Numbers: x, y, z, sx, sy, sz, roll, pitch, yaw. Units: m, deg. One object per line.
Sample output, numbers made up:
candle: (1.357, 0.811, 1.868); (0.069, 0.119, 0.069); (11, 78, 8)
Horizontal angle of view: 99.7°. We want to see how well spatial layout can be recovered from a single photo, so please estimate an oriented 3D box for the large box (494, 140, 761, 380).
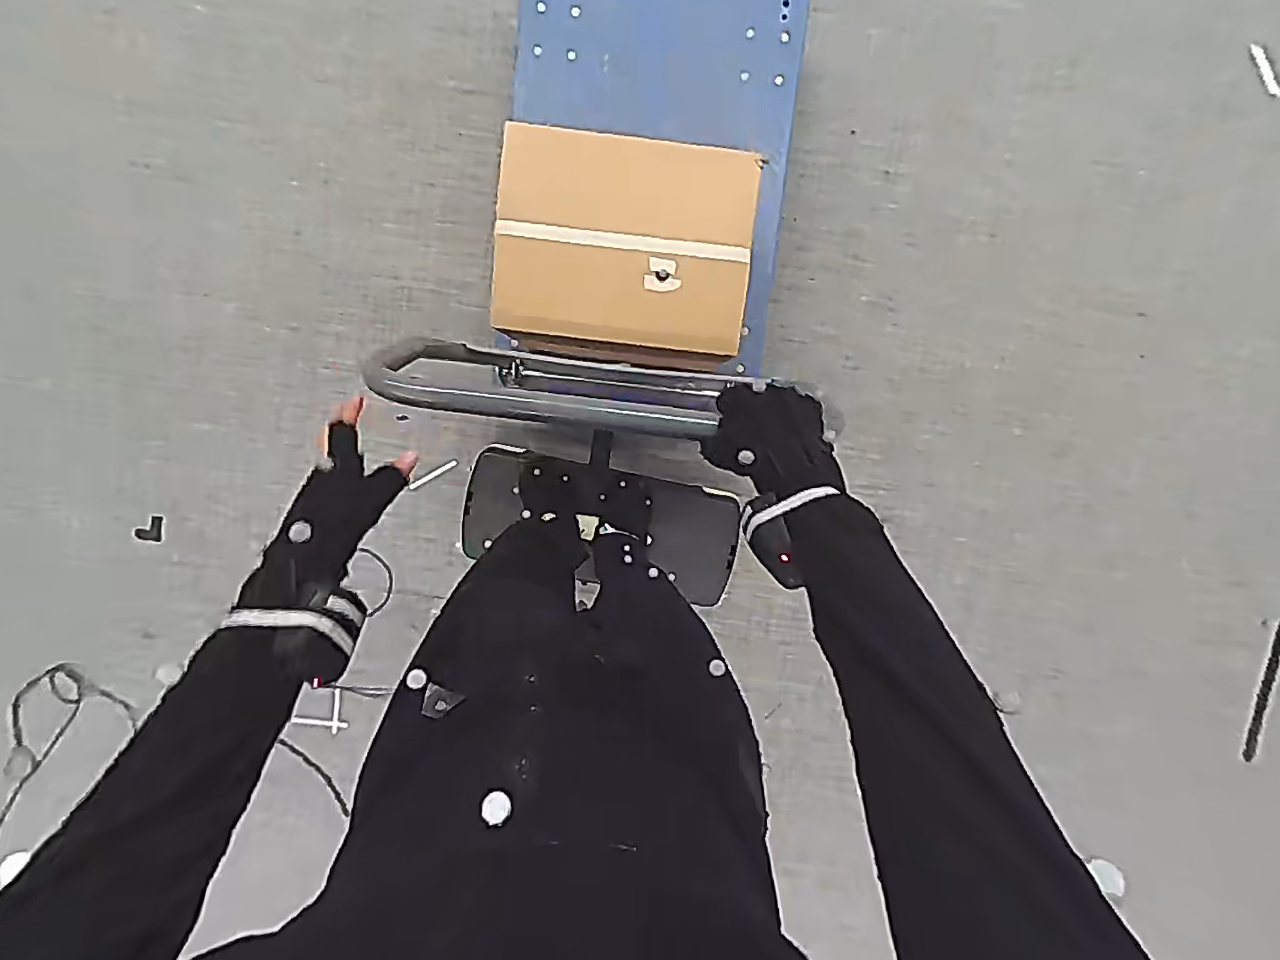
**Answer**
large box: (-0.027, -0.369, 0.998); (0.408, 0.320, 0.320); (7, 97, -2)
